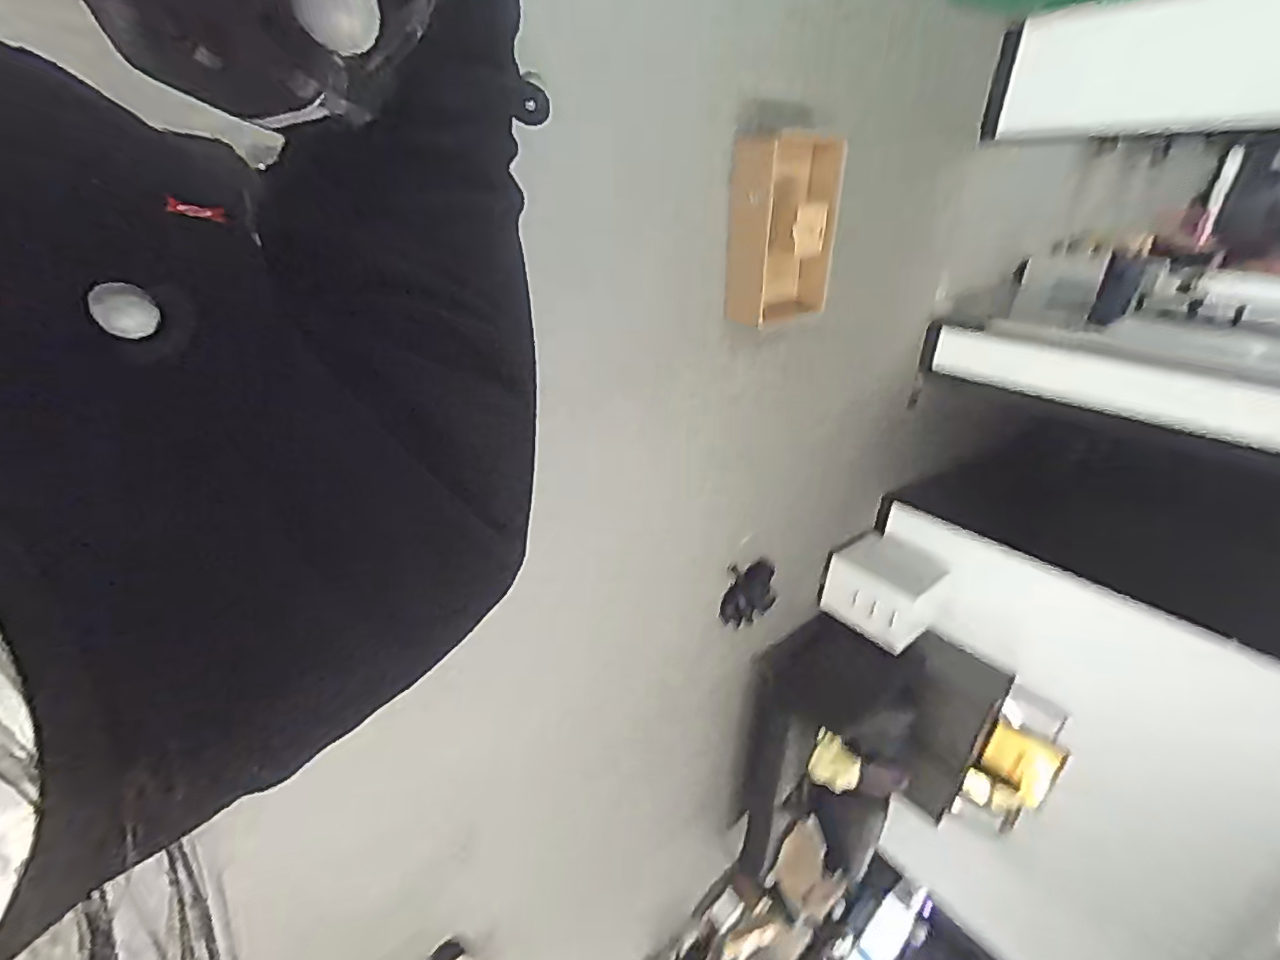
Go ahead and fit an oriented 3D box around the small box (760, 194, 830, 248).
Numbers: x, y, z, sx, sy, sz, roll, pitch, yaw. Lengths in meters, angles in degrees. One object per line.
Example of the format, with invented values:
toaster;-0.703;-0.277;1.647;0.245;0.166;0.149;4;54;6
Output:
small box;0.552;-0.934;1.945;0.179;0.176;0.168;-22;126;-33
